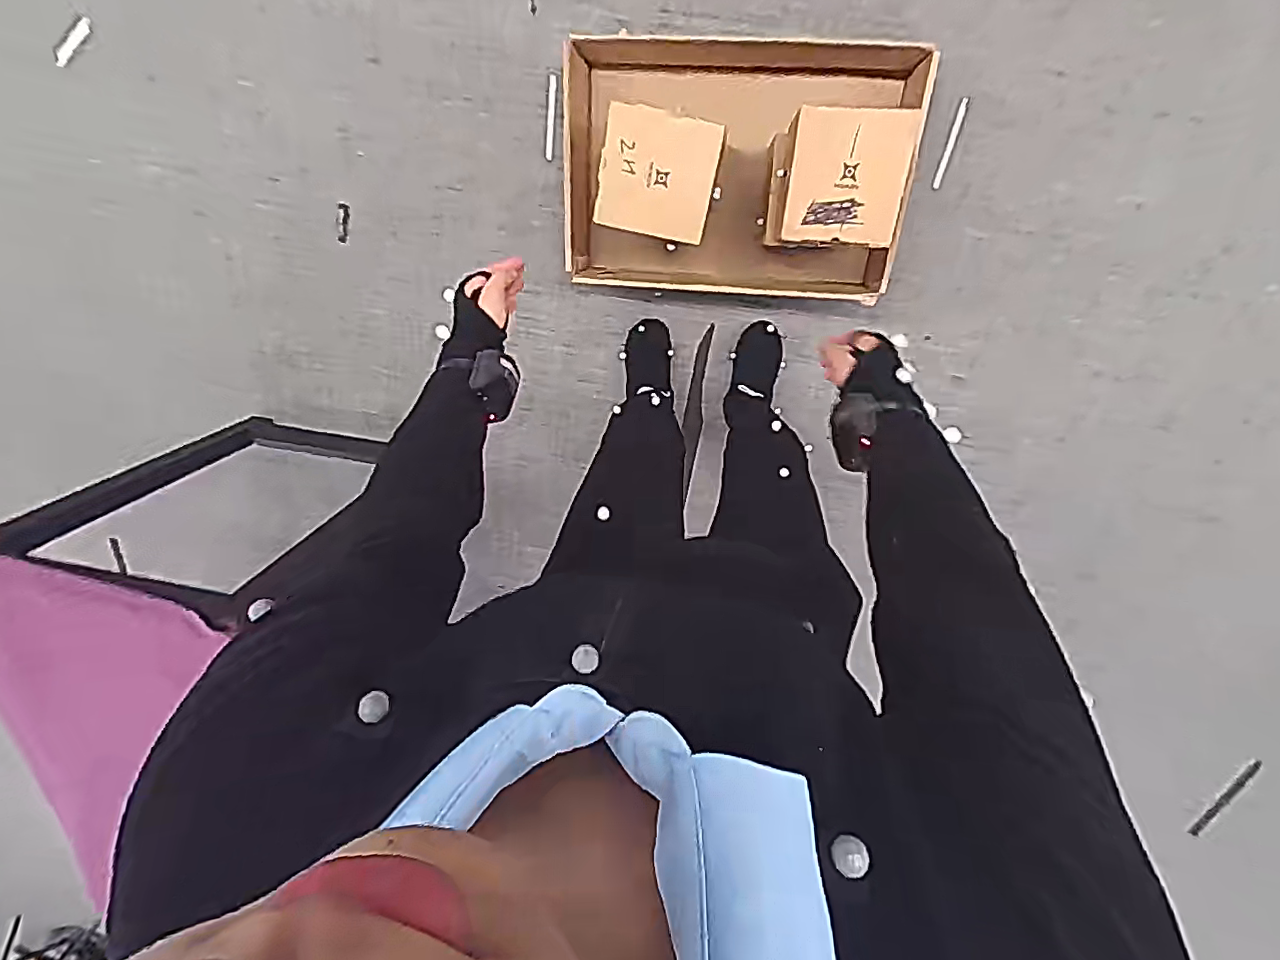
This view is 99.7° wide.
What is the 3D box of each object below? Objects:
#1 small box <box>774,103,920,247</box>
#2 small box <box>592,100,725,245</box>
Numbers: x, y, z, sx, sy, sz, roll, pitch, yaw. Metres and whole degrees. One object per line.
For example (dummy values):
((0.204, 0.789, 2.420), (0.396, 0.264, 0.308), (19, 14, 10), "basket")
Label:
((0.309, -0.471, 0.851), (0.168, 0.176, 0.179), (6, 115, 6), "small box")
((0.032, -0.493, 0.884), (0.179, 0.176, 0.168), (13, 116, 1), "small box")
